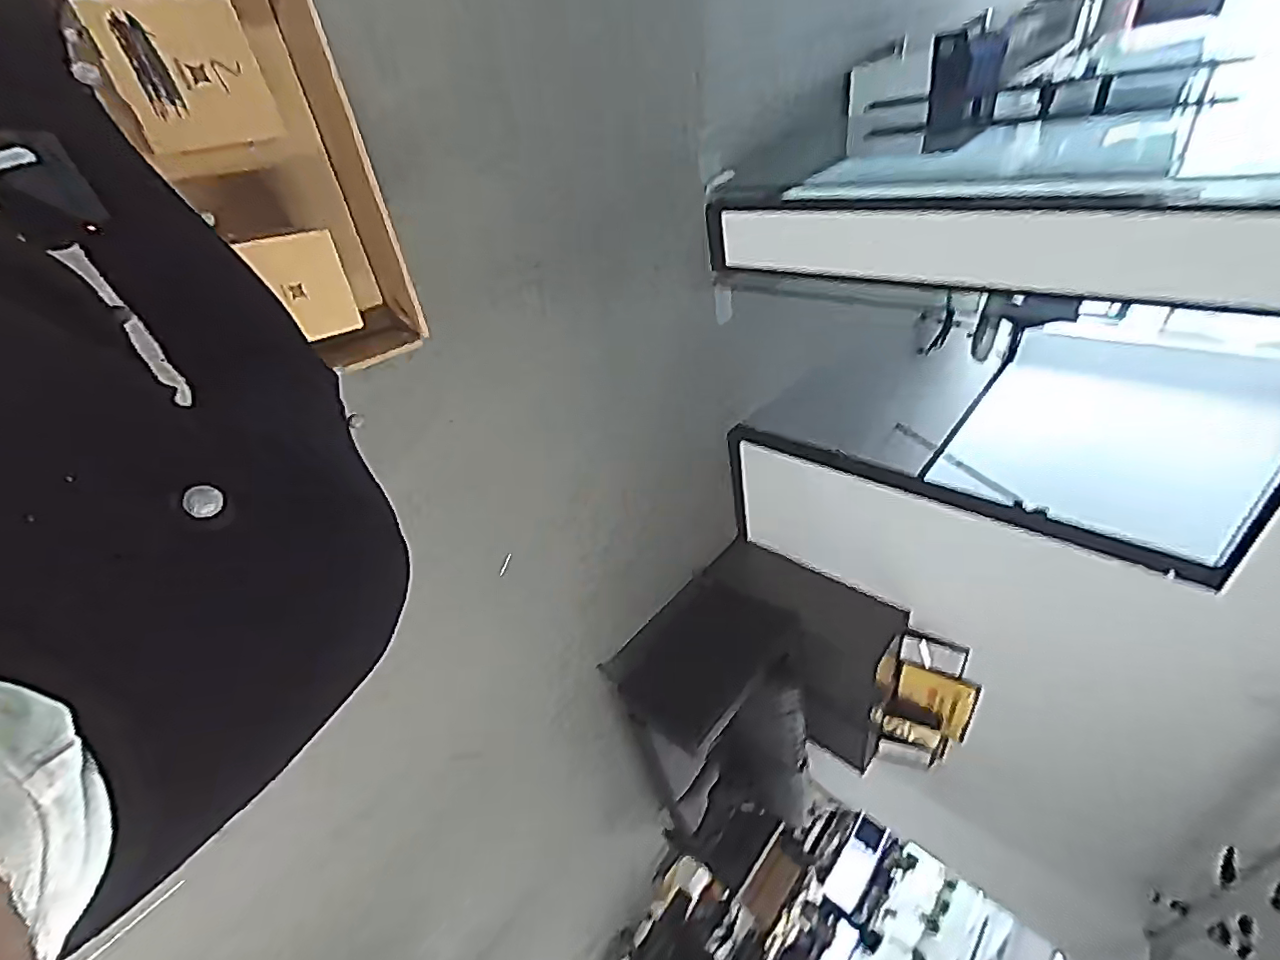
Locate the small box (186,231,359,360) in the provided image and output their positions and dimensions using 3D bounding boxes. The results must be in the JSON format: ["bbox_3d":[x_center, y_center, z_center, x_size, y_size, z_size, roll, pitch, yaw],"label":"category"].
[{"bbox_3d":[-0.629,-0.325,0.931,0.179,0.176,0.168,-32,131,-35],"label":"small box"}]
